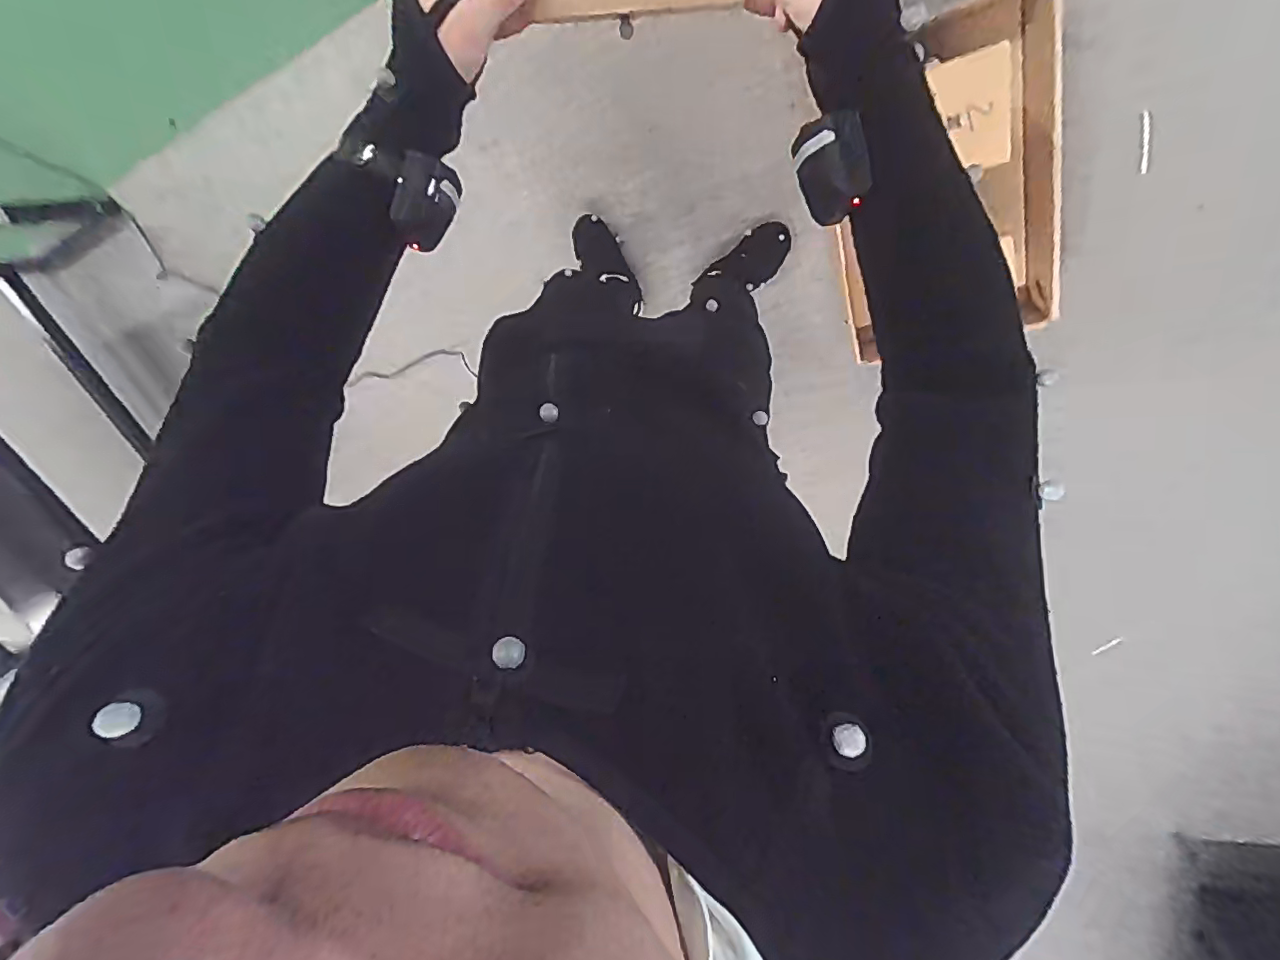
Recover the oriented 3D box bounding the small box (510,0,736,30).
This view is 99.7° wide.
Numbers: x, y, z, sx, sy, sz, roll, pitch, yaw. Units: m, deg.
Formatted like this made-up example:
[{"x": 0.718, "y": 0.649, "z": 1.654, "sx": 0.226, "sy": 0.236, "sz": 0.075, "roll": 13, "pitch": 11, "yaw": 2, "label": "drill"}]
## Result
[{"x": -0.010, "y": -0.467, "z": 0.426, "sx": 0.179, "sy": 0.176, "sz": 0.168, "roll": 0, "pitch": 130, "yaw": 6, "label": "small box"}]
